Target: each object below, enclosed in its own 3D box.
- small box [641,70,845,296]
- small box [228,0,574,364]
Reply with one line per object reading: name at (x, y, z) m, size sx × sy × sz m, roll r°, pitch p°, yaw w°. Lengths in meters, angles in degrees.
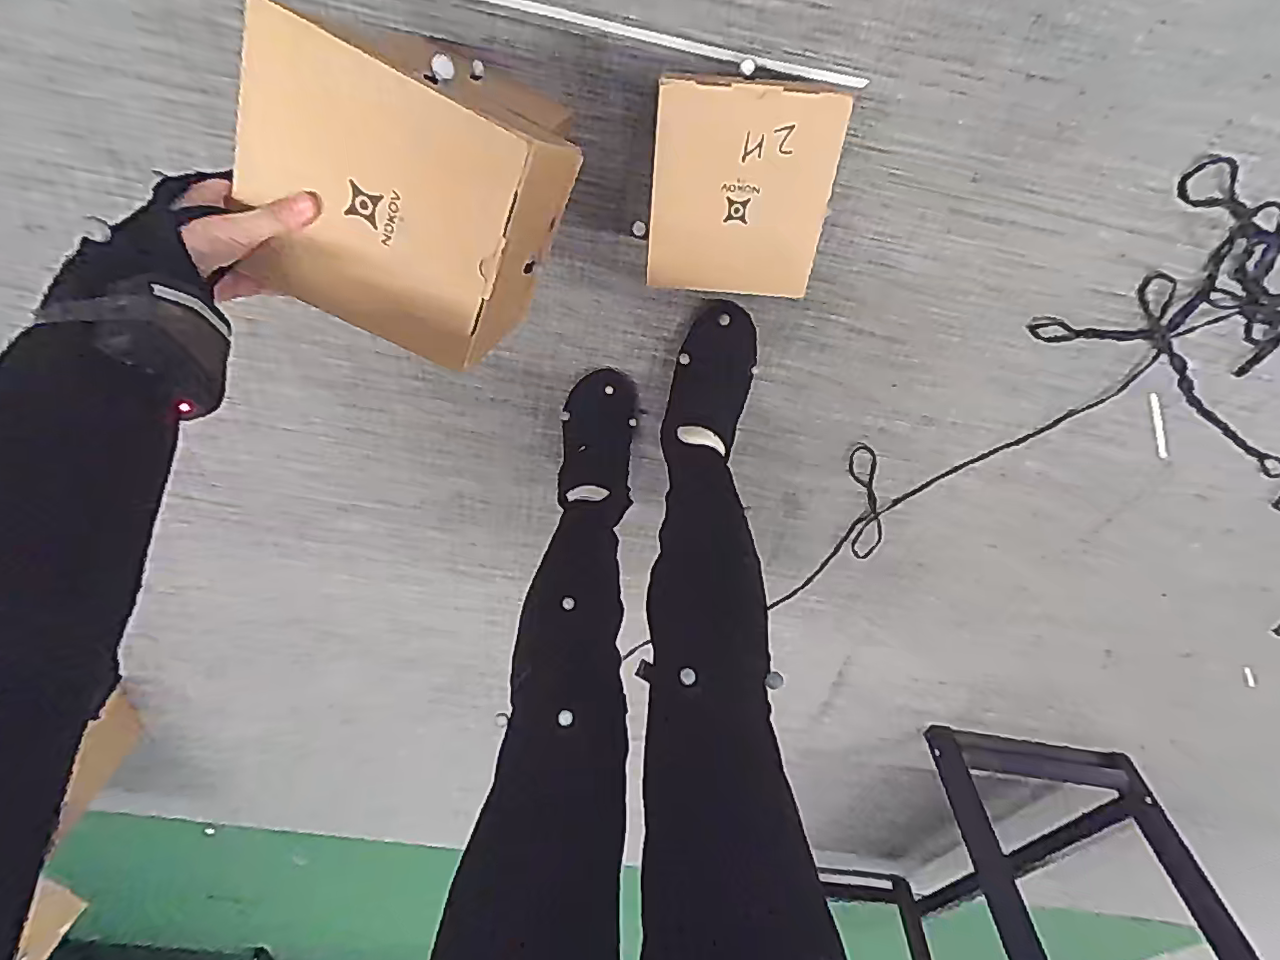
small box at (0.092, -0.315, 0.570) m, size 0.168 × 0.176 × 0.179 m, roll 4°, pitch 128°, yaw 0°
small box at (-0.171, -0.218, 0.426) m, size 0.179 × 0.176 × 0.168 m, roll 24°, pitch 117°, yaw -7°
